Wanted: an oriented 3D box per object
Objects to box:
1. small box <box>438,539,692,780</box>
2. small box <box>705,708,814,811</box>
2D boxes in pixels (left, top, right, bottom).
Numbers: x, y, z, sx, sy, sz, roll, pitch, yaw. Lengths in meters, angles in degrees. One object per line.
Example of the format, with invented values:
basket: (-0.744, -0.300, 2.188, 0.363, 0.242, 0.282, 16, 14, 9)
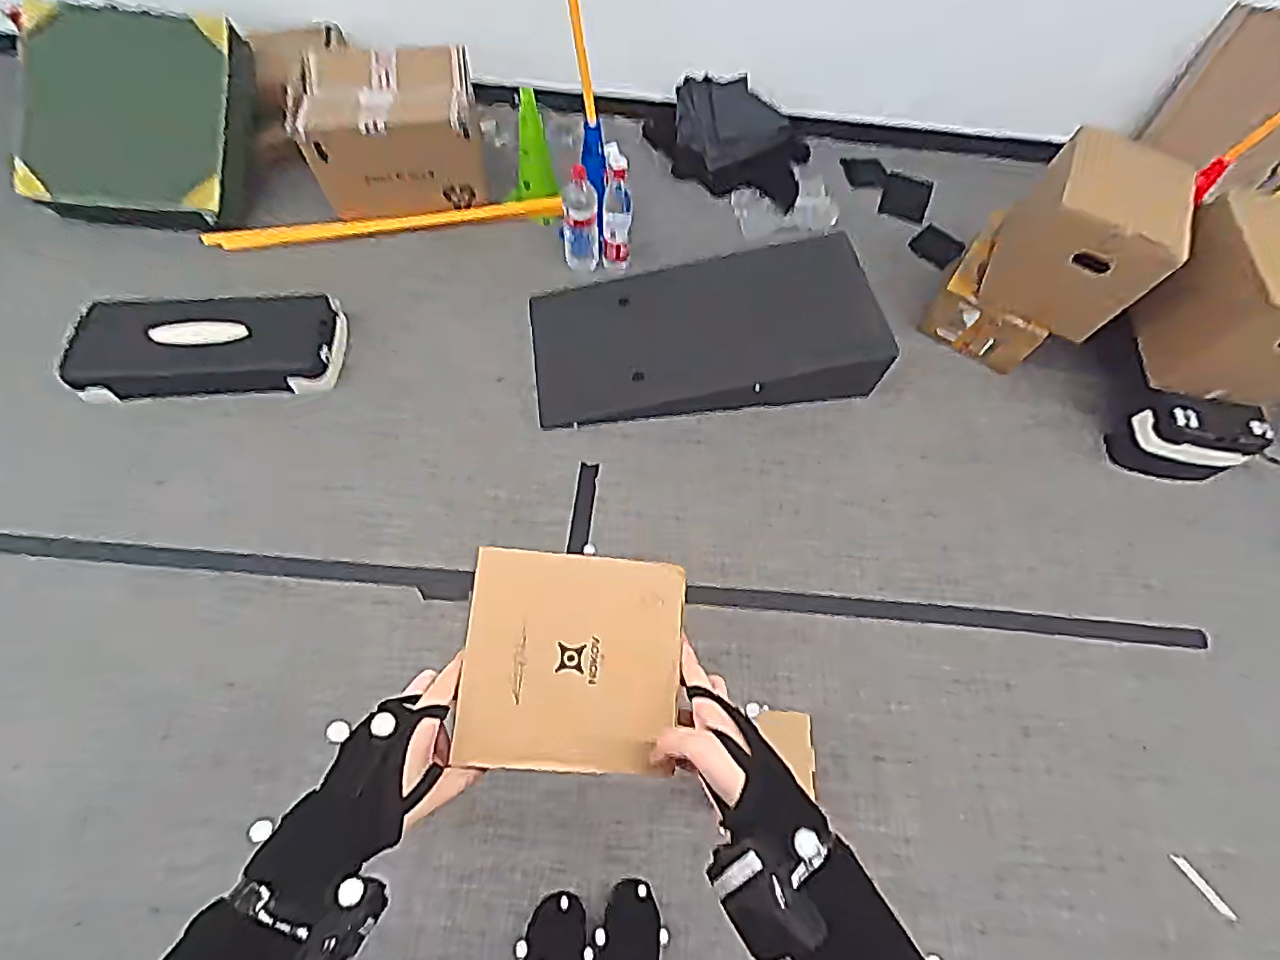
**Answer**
small box: (-0.063, 0.154, 0.492, 0.179, 0.176, 0.168, 8, 75, -6)
small box: (0.237, 0.565, 1.102, 0.179, 0.176, 0.168, 6, 63, -2)
